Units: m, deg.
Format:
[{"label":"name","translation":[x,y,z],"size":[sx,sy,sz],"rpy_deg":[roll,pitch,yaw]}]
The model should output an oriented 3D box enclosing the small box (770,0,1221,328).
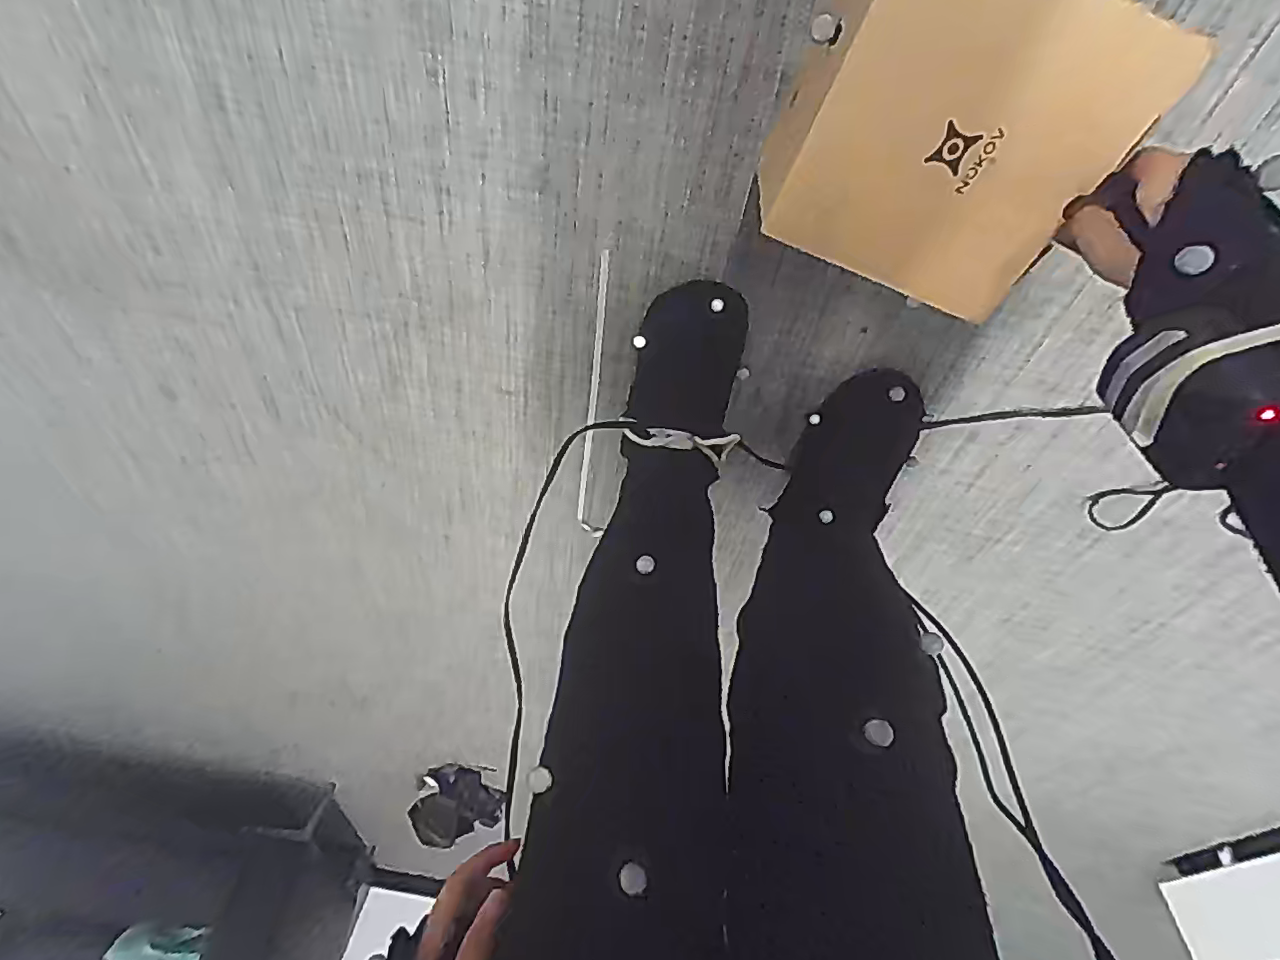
[{"label":"small box","translation":[0.207,-0.243,0.381],"size":[0.179,0.176,0.168],"rpy_deg":[19,132,-9]}]
